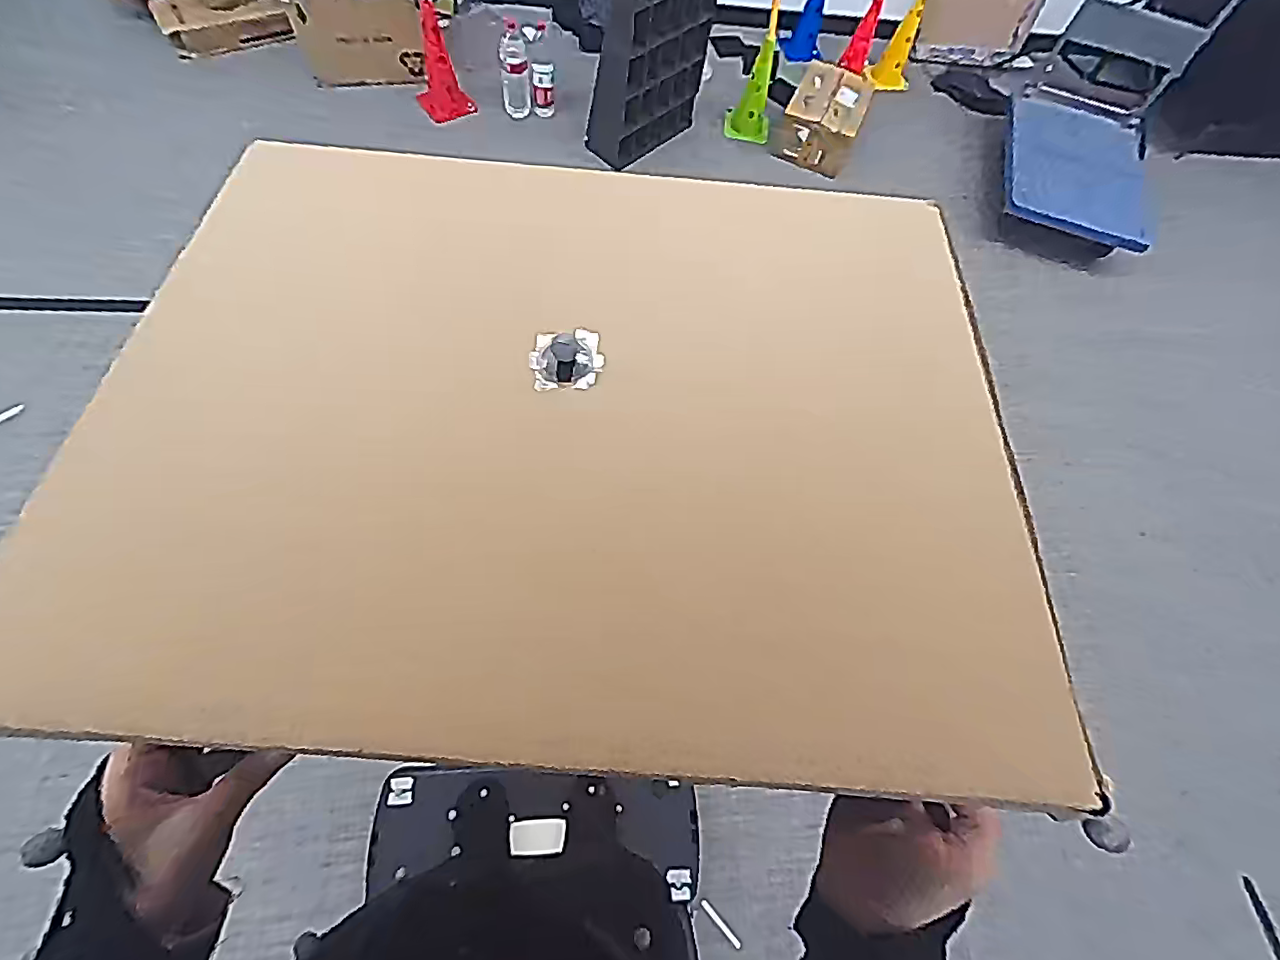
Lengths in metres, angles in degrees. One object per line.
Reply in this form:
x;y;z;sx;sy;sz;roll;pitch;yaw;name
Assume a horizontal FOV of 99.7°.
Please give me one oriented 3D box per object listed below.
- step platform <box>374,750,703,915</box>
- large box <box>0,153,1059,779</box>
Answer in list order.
-0.204;0.756;1.190;0.684;0.204;0.286;5;66;-6;step platform
-0.054;0.016;0.380;0.408;0.320;0.320;3;65;0;large box
